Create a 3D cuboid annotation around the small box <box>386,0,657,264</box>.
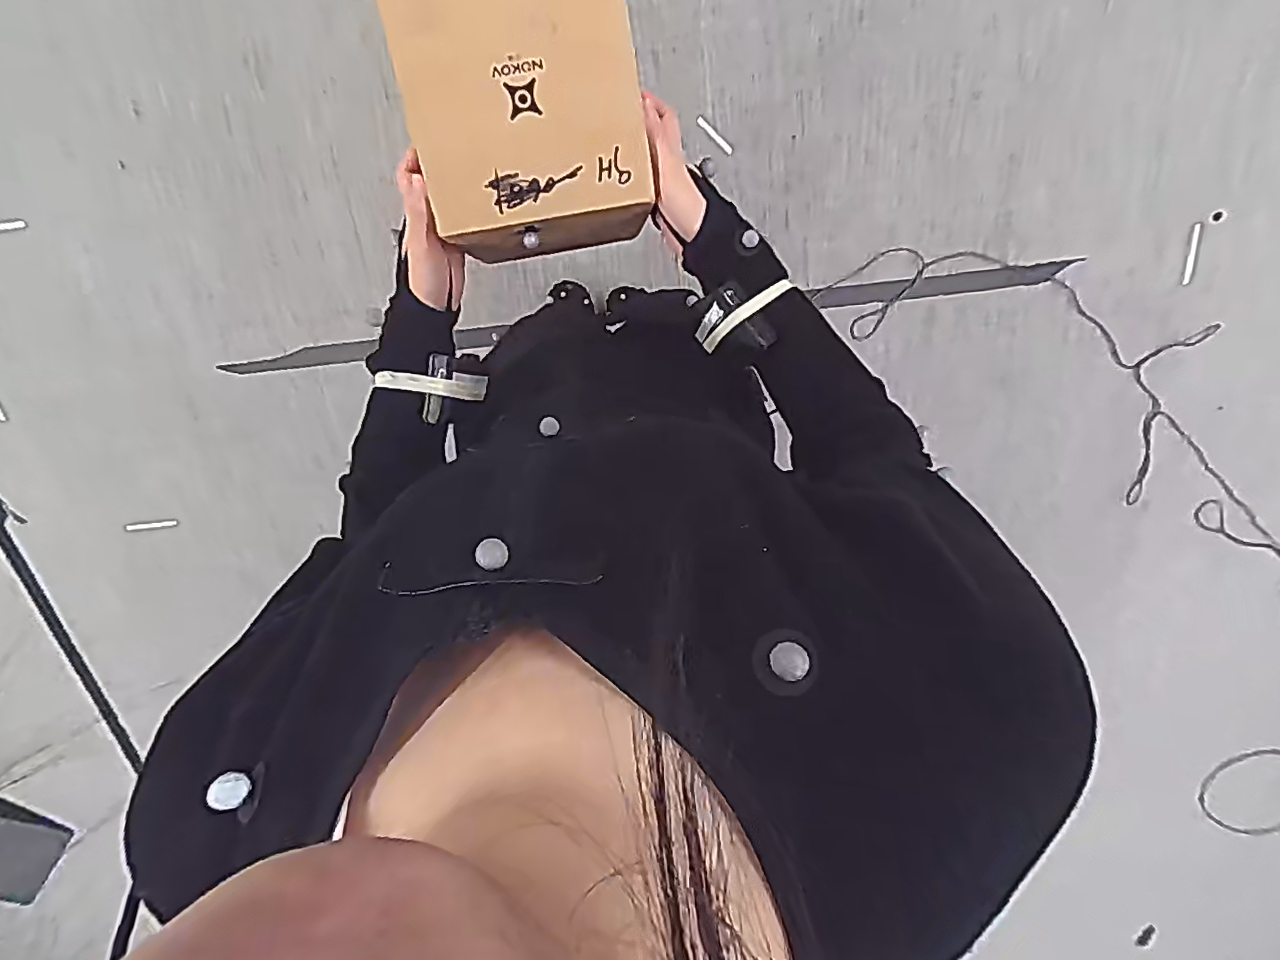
[{"bbox_3d":[-0.087,-0.294,0.453,0.168,0.176,0.179,-10,106,-3],"label":"small box"}]
